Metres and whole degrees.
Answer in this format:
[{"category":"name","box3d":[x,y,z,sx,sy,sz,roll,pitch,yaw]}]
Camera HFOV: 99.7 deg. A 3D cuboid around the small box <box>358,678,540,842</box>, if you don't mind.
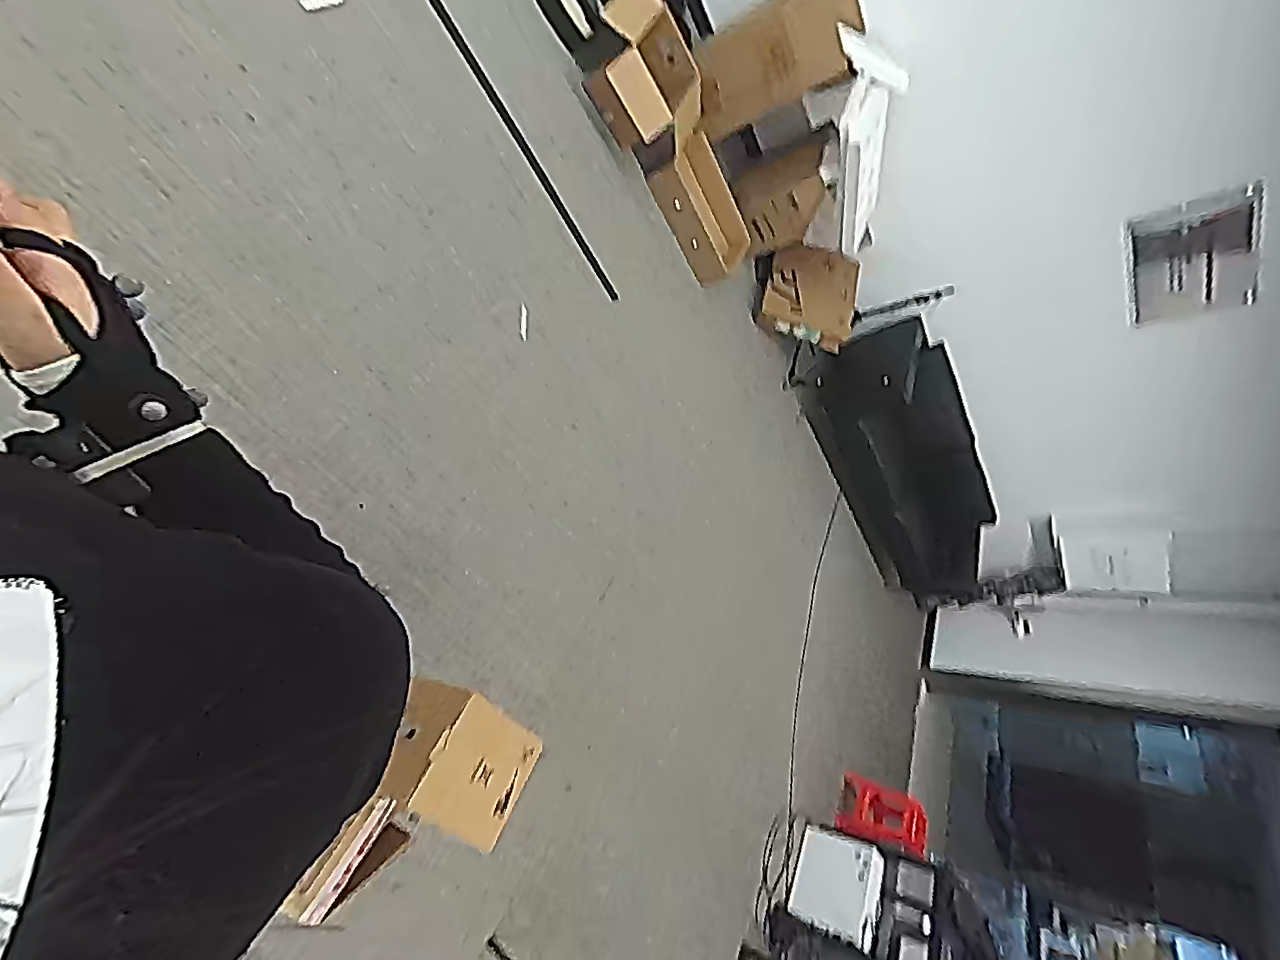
[{"category":"small box","box3d":[-0.302,0.431,0.857,0.179,0.176,0.168,53,48,-28]}]
